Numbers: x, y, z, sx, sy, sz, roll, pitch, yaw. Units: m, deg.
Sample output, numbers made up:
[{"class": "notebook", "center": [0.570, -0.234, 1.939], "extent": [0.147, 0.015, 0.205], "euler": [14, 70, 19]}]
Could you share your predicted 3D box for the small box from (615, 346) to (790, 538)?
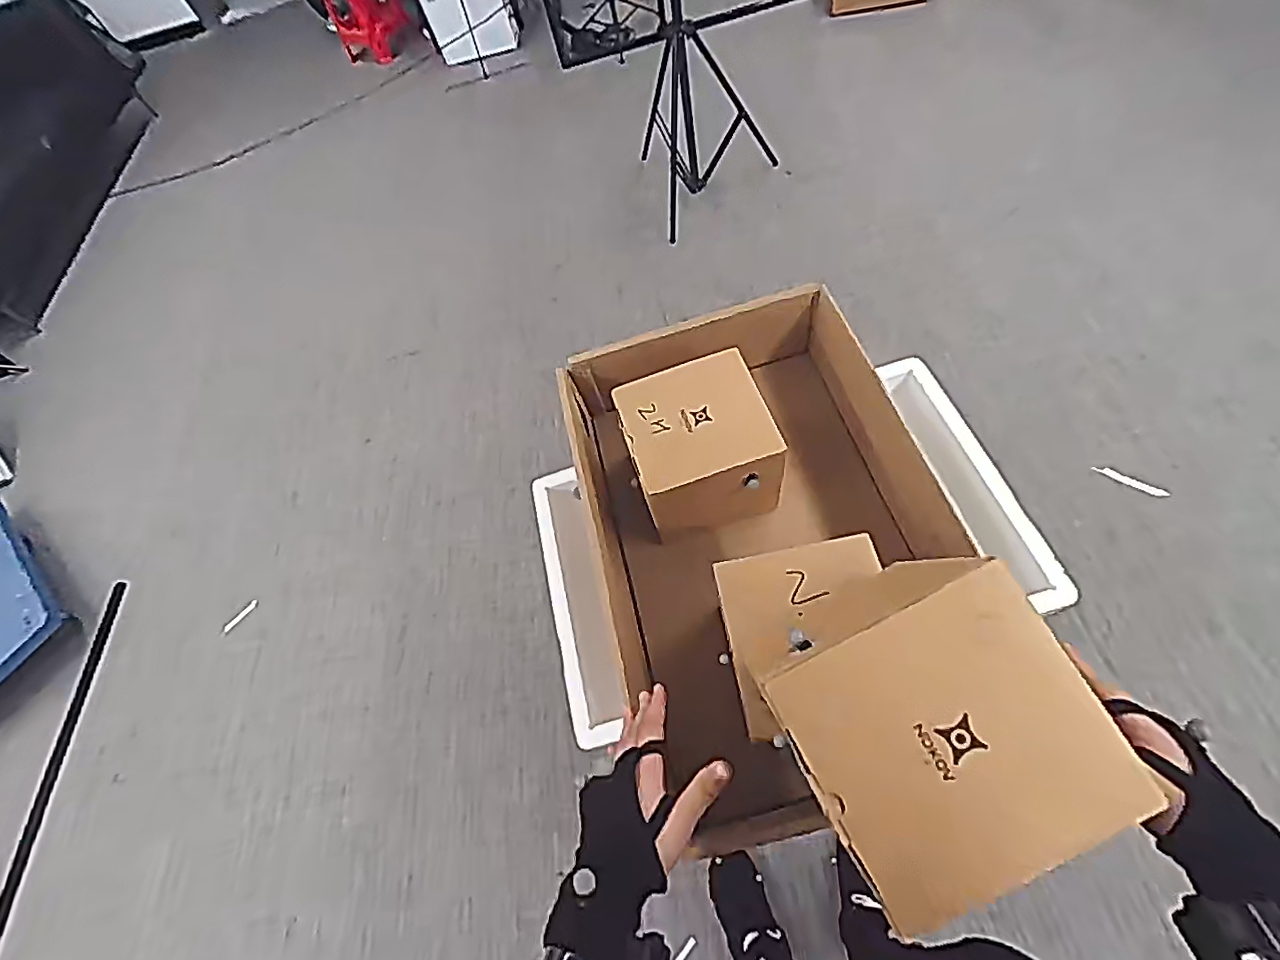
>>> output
[{"class": "small box", "center": [0.081, -0.044, 0.726], "extent": [0.179, 0.176, 0.168], "euler": [-18, 61, 0]}]
